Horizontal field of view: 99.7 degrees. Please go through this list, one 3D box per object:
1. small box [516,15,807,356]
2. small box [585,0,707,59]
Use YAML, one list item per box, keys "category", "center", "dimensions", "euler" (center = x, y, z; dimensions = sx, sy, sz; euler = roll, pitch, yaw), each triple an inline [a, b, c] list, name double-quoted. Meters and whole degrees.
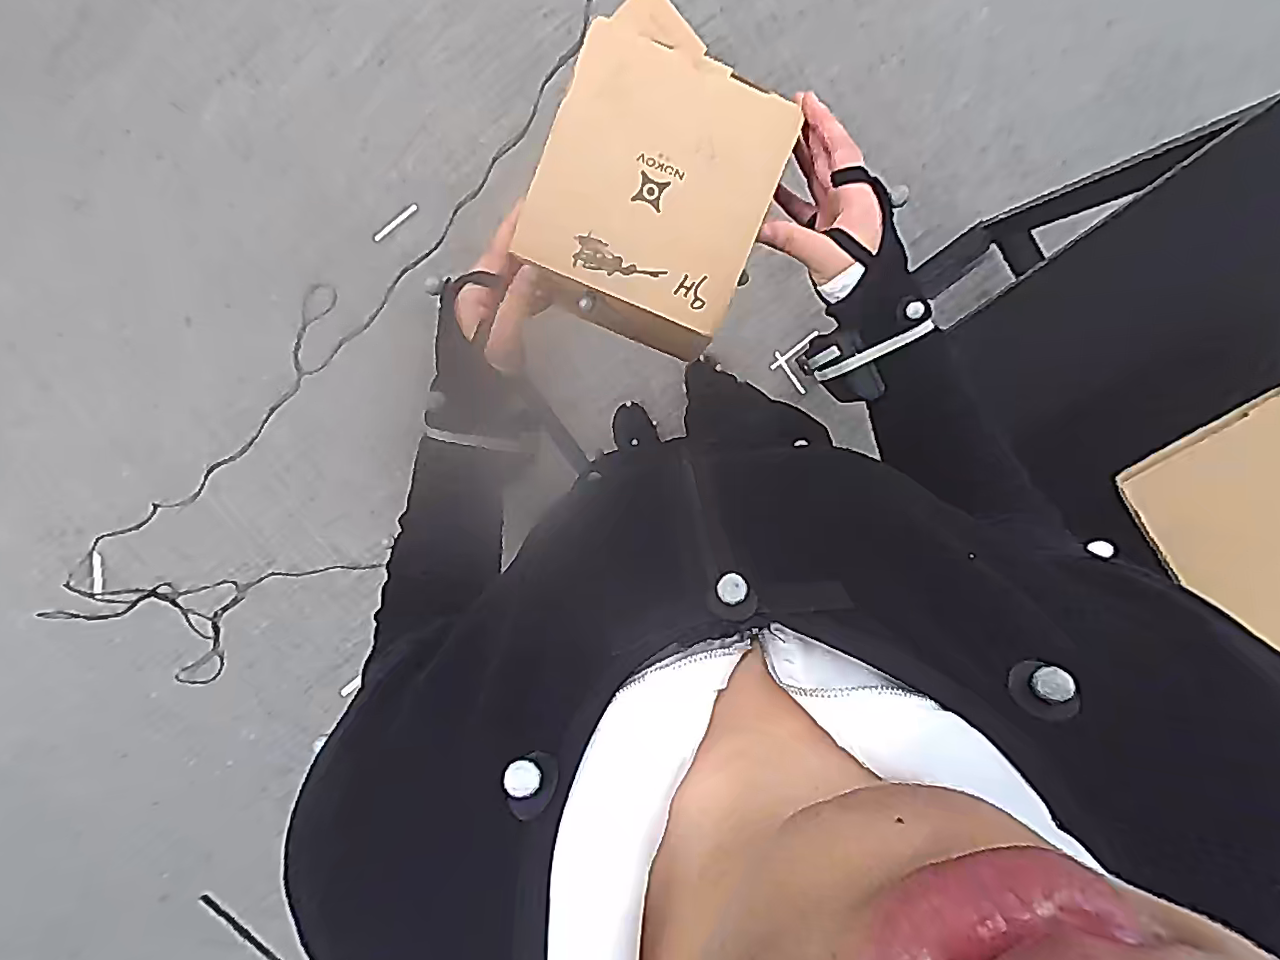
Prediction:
- category: "small box"
  center: [0.014, -0.227, 0.471]
  dimensions: [0.168, 0.176, 0.179]
  euler: [22, 94, -1]
- category: "small box"
  center: [0.010, -0.820, 1.098]
  dimensions: [0.179, 0.176, 0.168]
  euler: [-43, 99, 6]
